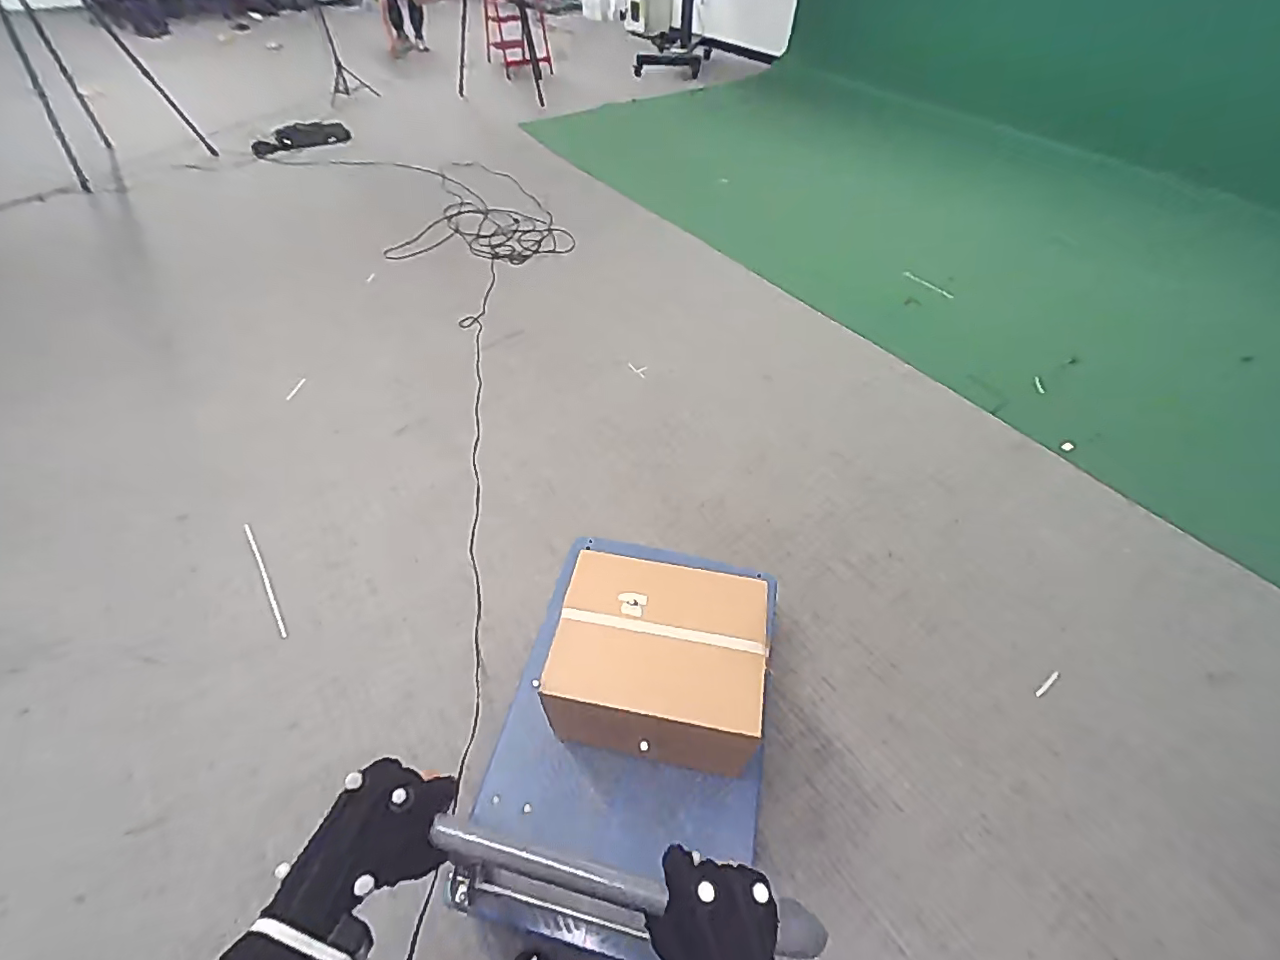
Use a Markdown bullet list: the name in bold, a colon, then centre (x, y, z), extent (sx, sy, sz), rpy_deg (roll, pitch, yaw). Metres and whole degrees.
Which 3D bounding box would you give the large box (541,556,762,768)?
- **large box**: centre (0.040, 0.398, 1.177), extent (0.408, 0.320, 0.320), rpy_deg (8, 50, 7)
